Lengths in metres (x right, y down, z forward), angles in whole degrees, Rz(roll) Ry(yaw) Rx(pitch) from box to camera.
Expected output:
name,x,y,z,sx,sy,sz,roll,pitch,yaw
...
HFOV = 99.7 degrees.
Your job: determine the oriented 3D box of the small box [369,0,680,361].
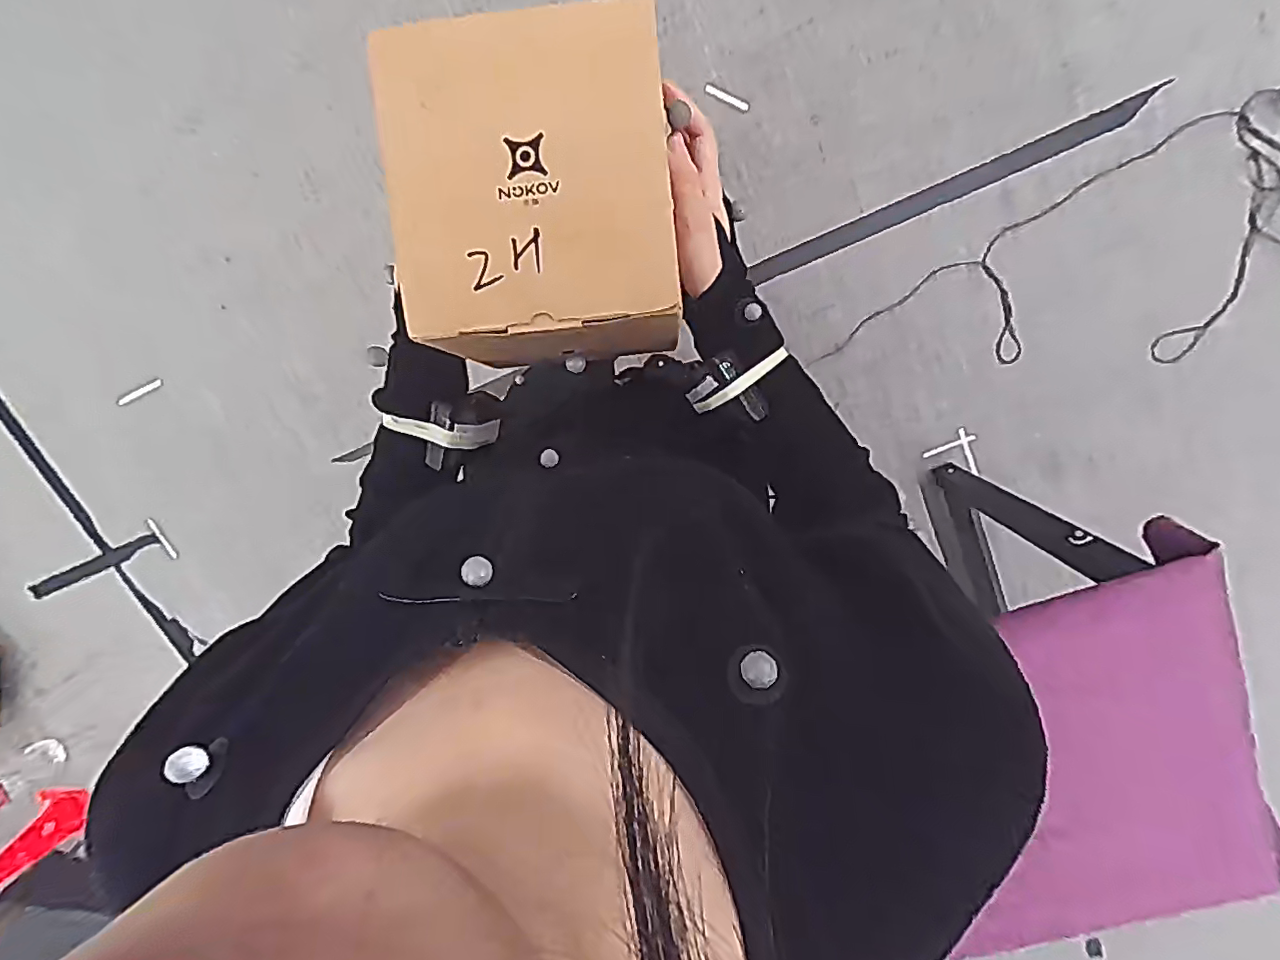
name,x,y,z,sx,sy,sz,roll,pitch,yaw
small box,-0.062,-0.189,0.387,0.168,0.176,0.179,-5,96,4
